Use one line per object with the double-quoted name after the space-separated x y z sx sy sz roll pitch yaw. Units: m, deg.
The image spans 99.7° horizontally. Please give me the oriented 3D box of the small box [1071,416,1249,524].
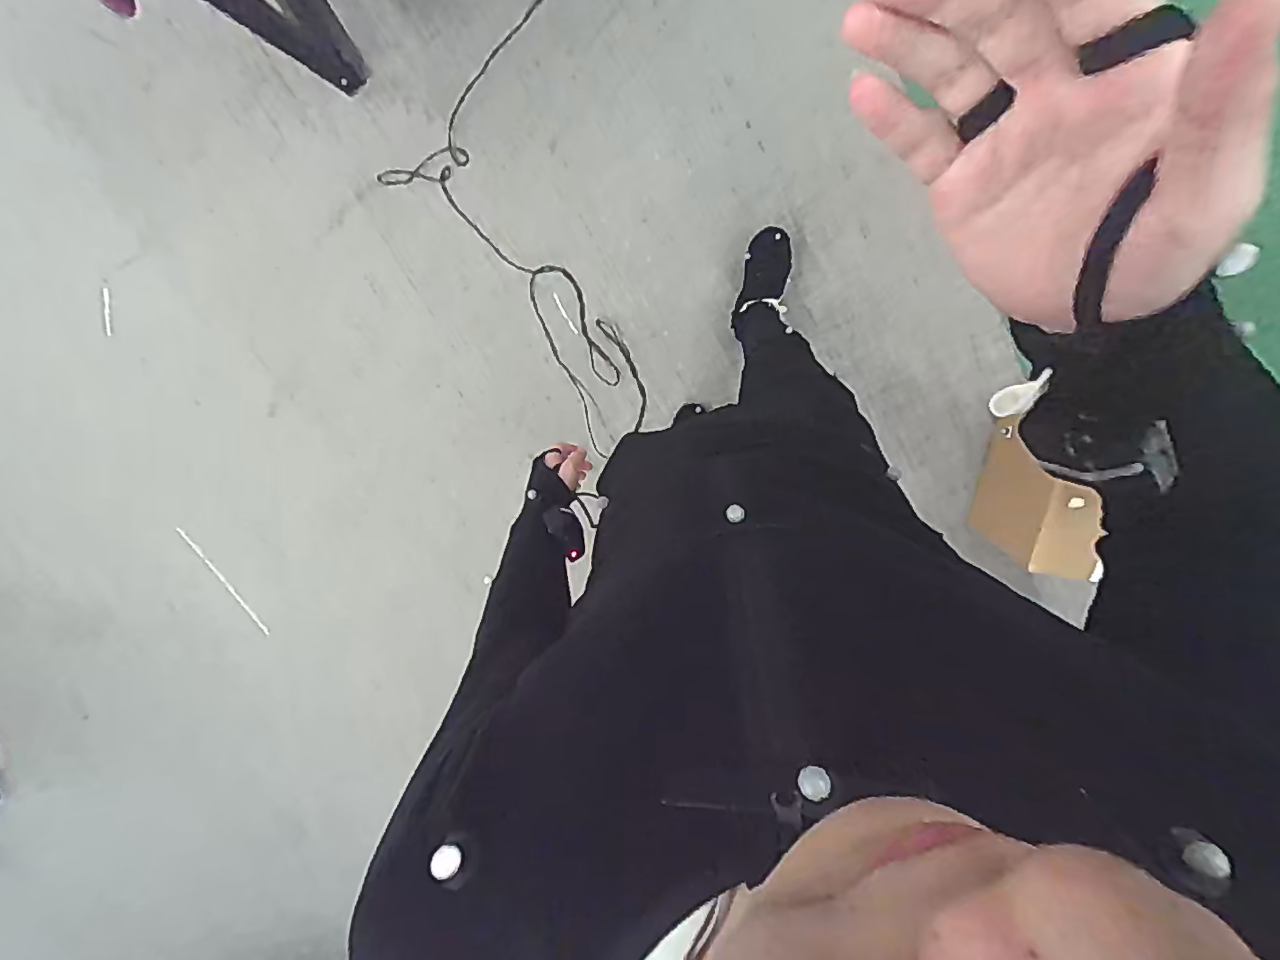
1.051 -0.029 1.114 0.179 0.176 0.168 10 108 2 "small box"
